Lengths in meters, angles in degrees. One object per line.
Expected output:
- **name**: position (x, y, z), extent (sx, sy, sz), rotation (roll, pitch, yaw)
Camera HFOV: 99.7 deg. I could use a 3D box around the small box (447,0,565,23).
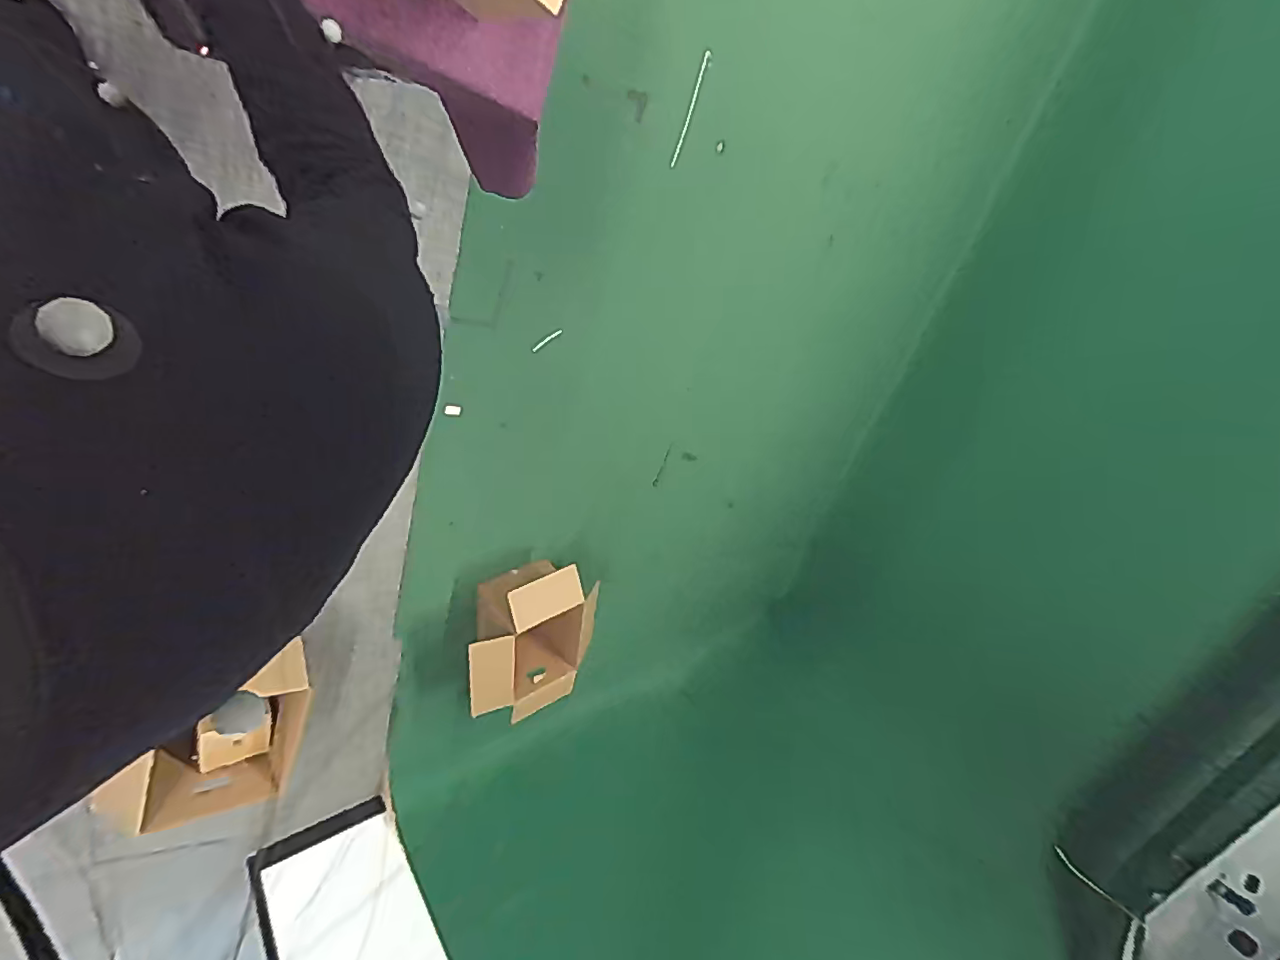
- **small box**: position (-0.146, -0.554, 0.477), extent (0.168, 0.176, 0.179), rotation (8, 114, -48)
